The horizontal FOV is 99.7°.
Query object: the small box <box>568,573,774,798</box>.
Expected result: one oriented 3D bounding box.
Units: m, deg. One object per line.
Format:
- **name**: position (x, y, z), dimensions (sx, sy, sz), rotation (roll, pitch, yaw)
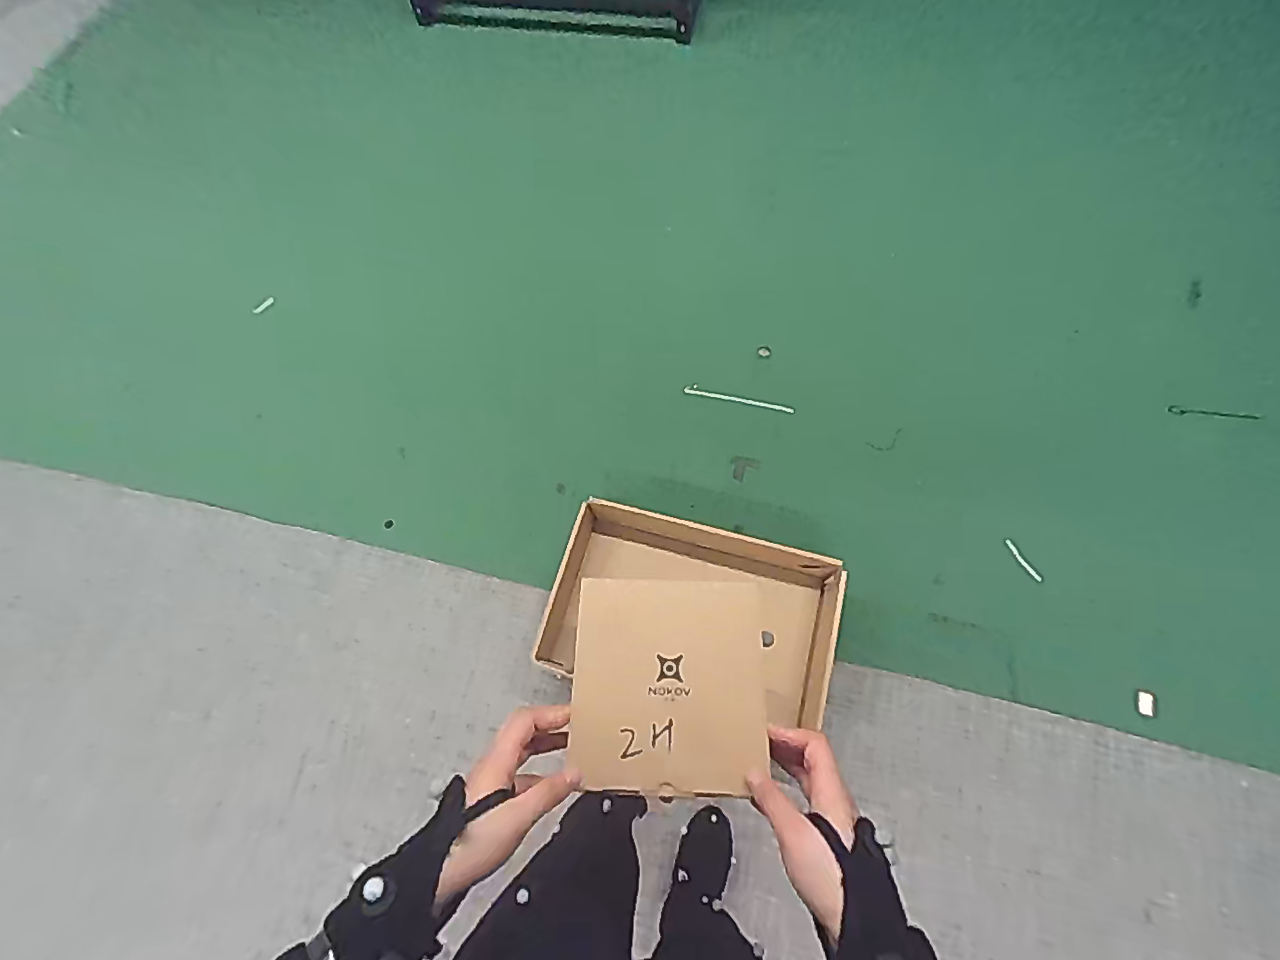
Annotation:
- **small box**: position (0.030, 0.201, 0.532), dimensions (0.168, 0.176, 0.179), rotation (1, 65, 3)
